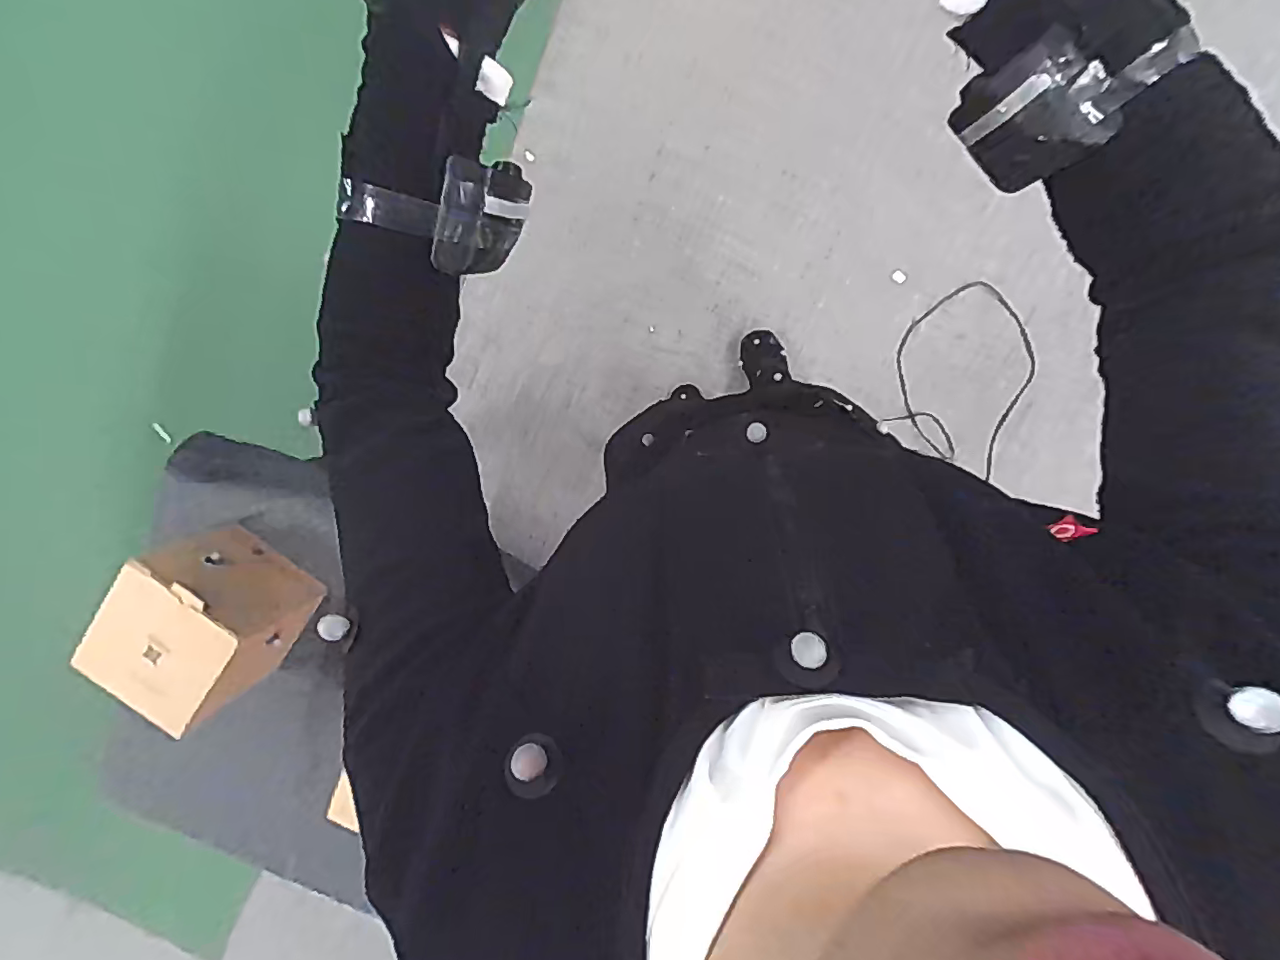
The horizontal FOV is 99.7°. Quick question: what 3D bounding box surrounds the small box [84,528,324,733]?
[{"bbox_3d":[-0.579,0.192,0.744,0.168,0.176,0.179,36,103,-2],"label":"small box"}]
